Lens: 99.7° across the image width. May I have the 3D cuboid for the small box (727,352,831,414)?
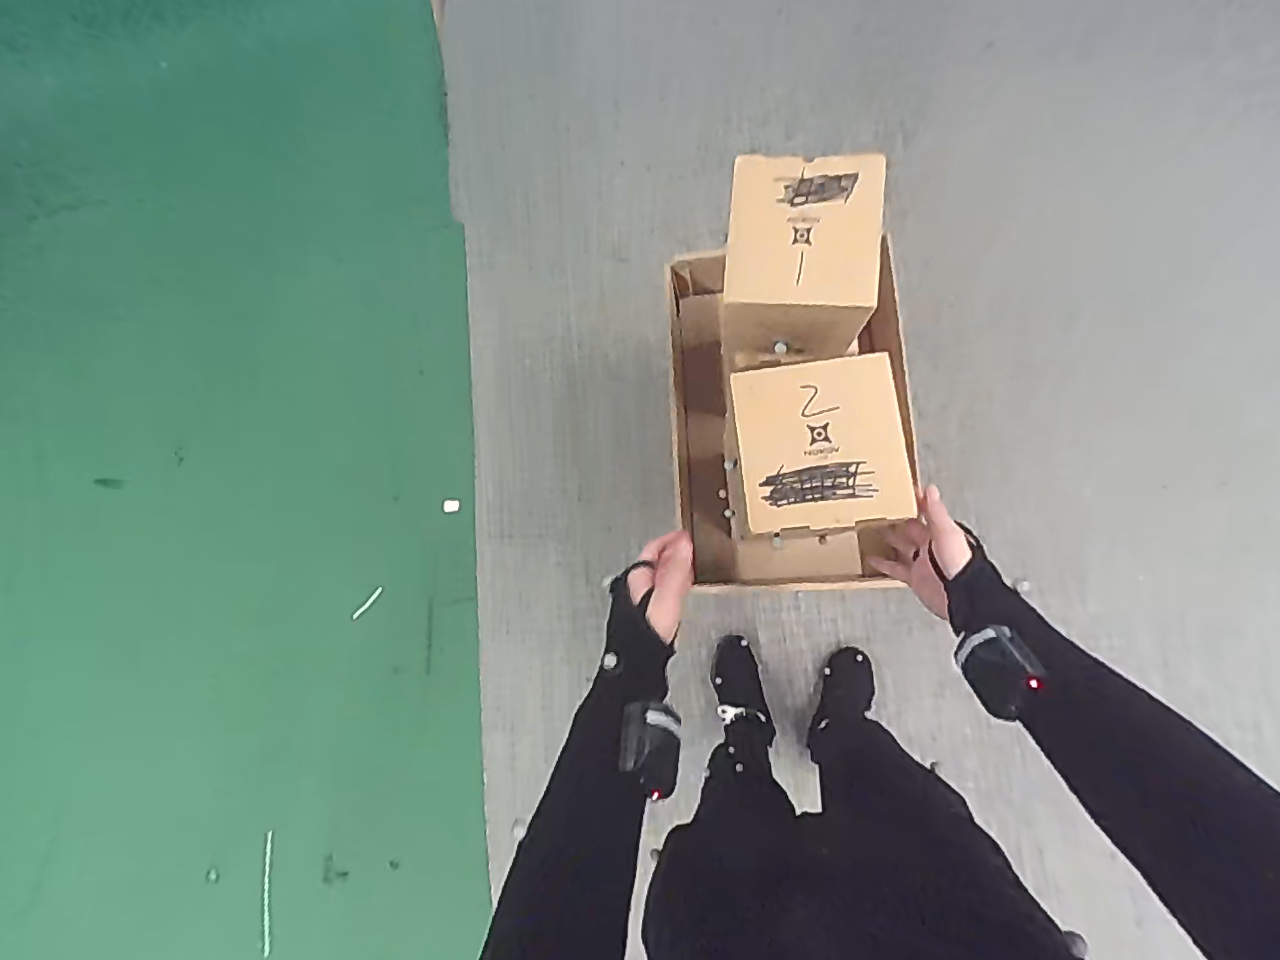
[{"bbox_3d":[0.247,-0.218,0.998,0.168,0.176,0.179,-5,82,9],"label":"small box"}]

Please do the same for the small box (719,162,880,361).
[{"bbox_3d":[0.189,-0.264,0.680,0.168,0.176,0.179,5,85,10],"label":"small box"}]

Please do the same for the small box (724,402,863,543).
[{"bbox_3d":[0.215,0.000,0.798,0.168,0.176,0.179,-6,79,8],"label":"small box"}]

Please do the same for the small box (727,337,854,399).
[{"bbox_3d":[0.220,-0.238,0.840,0.168,0.176,0.179,-5,82,8],"label":"small box"}]
